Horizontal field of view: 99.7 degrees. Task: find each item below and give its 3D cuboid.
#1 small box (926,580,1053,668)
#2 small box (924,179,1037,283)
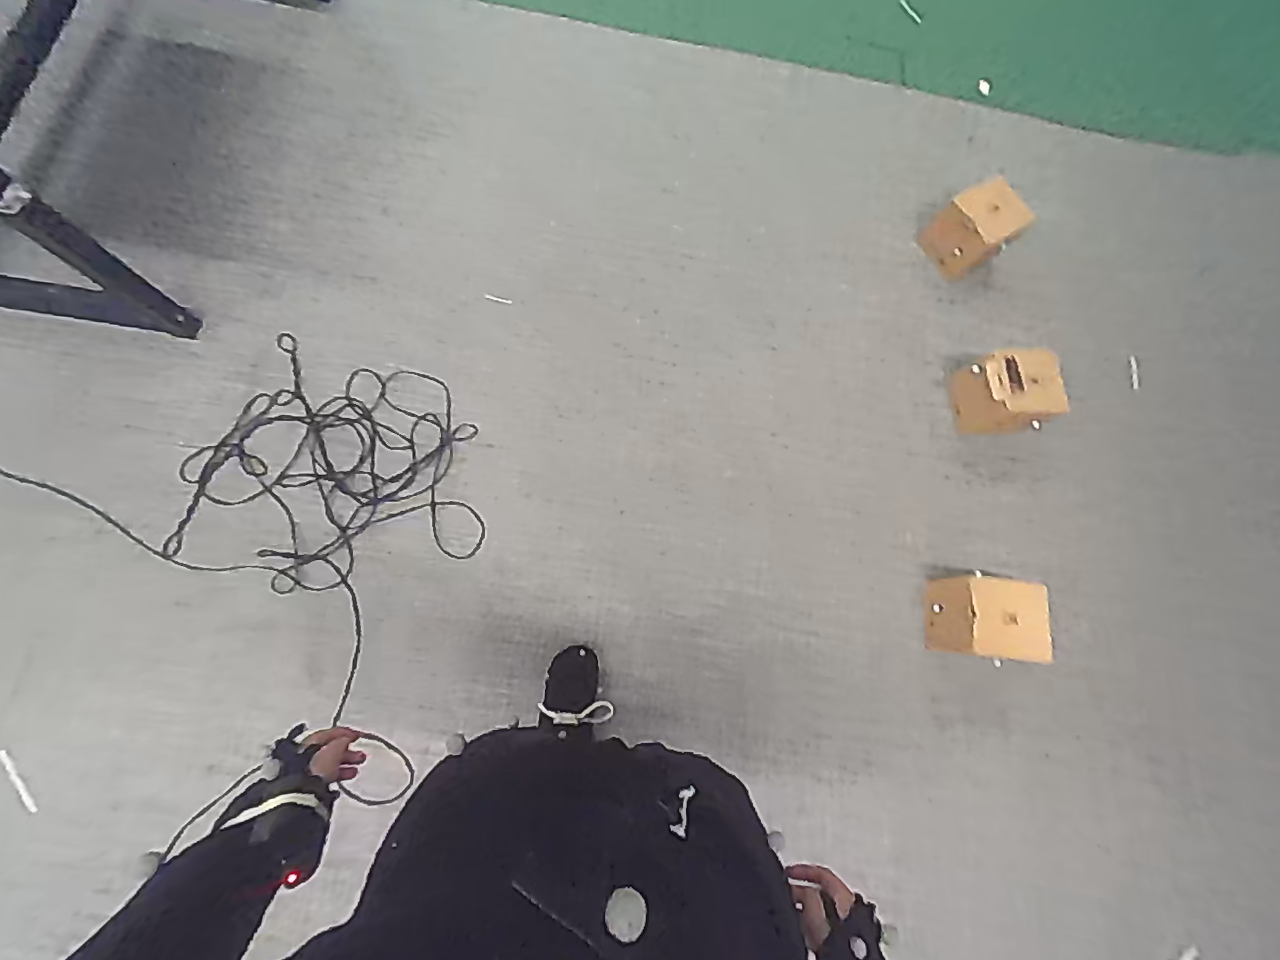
[{"bbox_3d":[0.778,0.321,1.218,0.179,0.176,0.168,8,75,-3],"label":"small box"},{"bbox_3d":[0.927,-0.683,1.499,0.179,0.176,0.168,-29,81,-13],"label":"small box"}]
